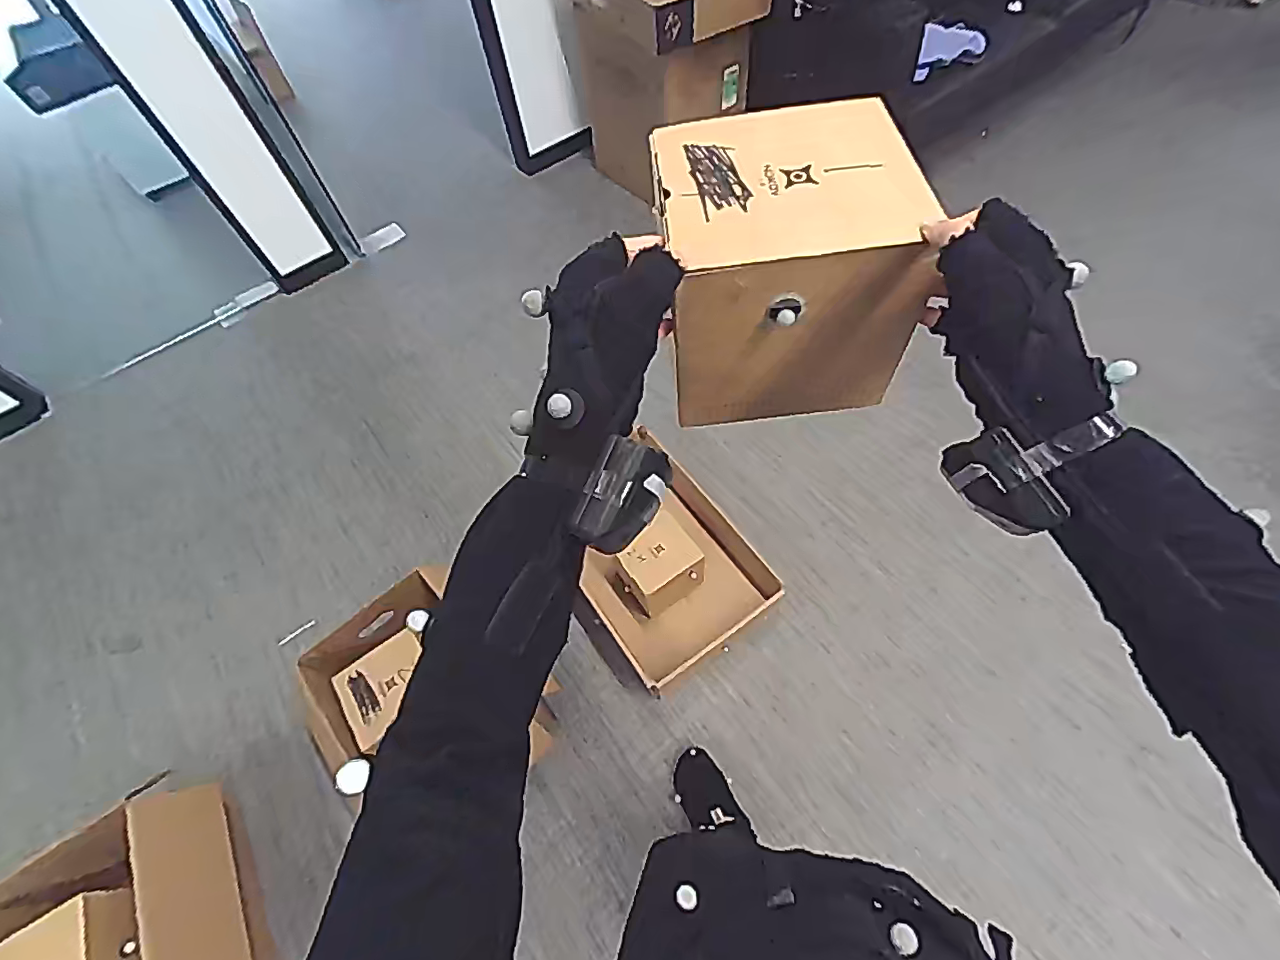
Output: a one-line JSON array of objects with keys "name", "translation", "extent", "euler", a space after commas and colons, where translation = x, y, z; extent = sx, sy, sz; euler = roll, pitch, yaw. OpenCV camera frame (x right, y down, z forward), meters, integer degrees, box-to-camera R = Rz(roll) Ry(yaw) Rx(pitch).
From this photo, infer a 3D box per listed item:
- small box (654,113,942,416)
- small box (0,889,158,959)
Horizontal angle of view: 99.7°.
[{"name": "small box", "translation": [0.110, -0.169, 0.456], "extent": [0.179, 0.176, 0.168], "euler": [-6, 60, 2]}, {"name": "small box", "translation": [-0.977, 0.843, 0.926], "extent": [0.179, 0.176, 0.168], "euler": [-30, 60, -14]}]
